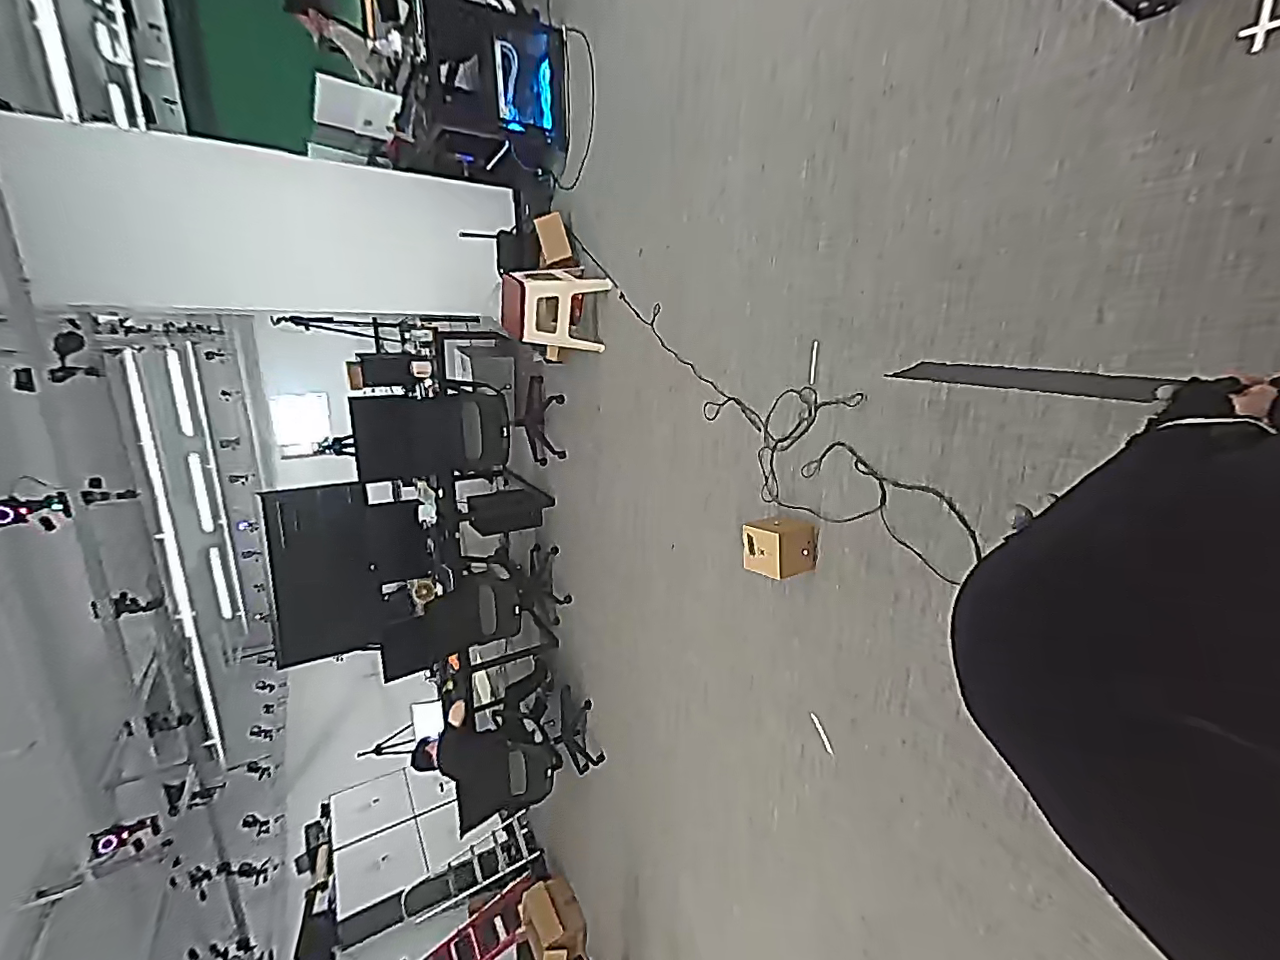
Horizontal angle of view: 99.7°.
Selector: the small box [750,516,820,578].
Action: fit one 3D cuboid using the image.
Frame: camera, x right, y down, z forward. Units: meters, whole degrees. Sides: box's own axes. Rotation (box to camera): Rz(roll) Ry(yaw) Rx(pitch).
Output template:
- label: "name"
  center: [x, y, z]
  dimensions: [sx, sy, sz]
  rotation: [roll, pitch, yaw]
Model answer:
- label: "small box"
  center: [0.507, 0.228, 1.900]
  dimensions: [0.179, 0.176, 0.168]
  rotation: [13, 110, 58]
